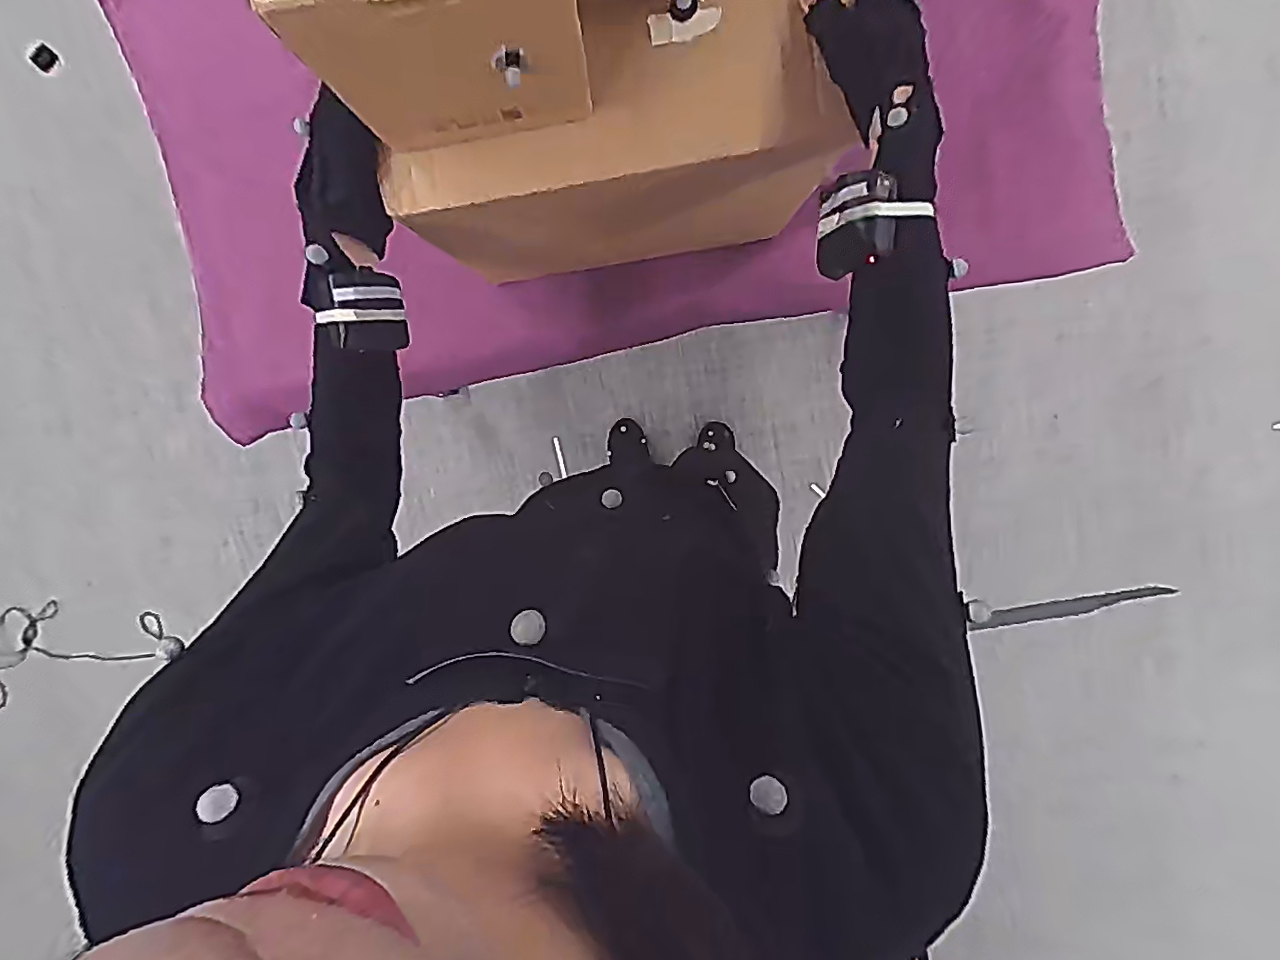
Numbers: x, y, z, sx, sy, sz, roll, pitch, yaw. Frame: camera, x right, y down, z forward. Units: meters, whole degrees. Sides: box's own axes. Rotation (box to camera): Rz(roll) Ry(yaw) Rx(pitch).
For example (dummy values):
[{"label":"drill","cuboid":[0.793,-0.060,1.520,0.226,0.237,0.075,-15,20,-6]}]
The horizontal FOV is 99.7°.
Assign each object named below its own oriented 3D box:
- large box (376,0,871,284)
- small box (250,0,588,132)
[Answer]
[{"label":"large box","cuboid":[-0.035,-0.424,0.566,0.408,0.320,0.320,-10,101,1]},{"label":"small box","cuboid":[-0.130,-0.346,0.334,0.168,0.176,0.179,-9,98,0]}]
